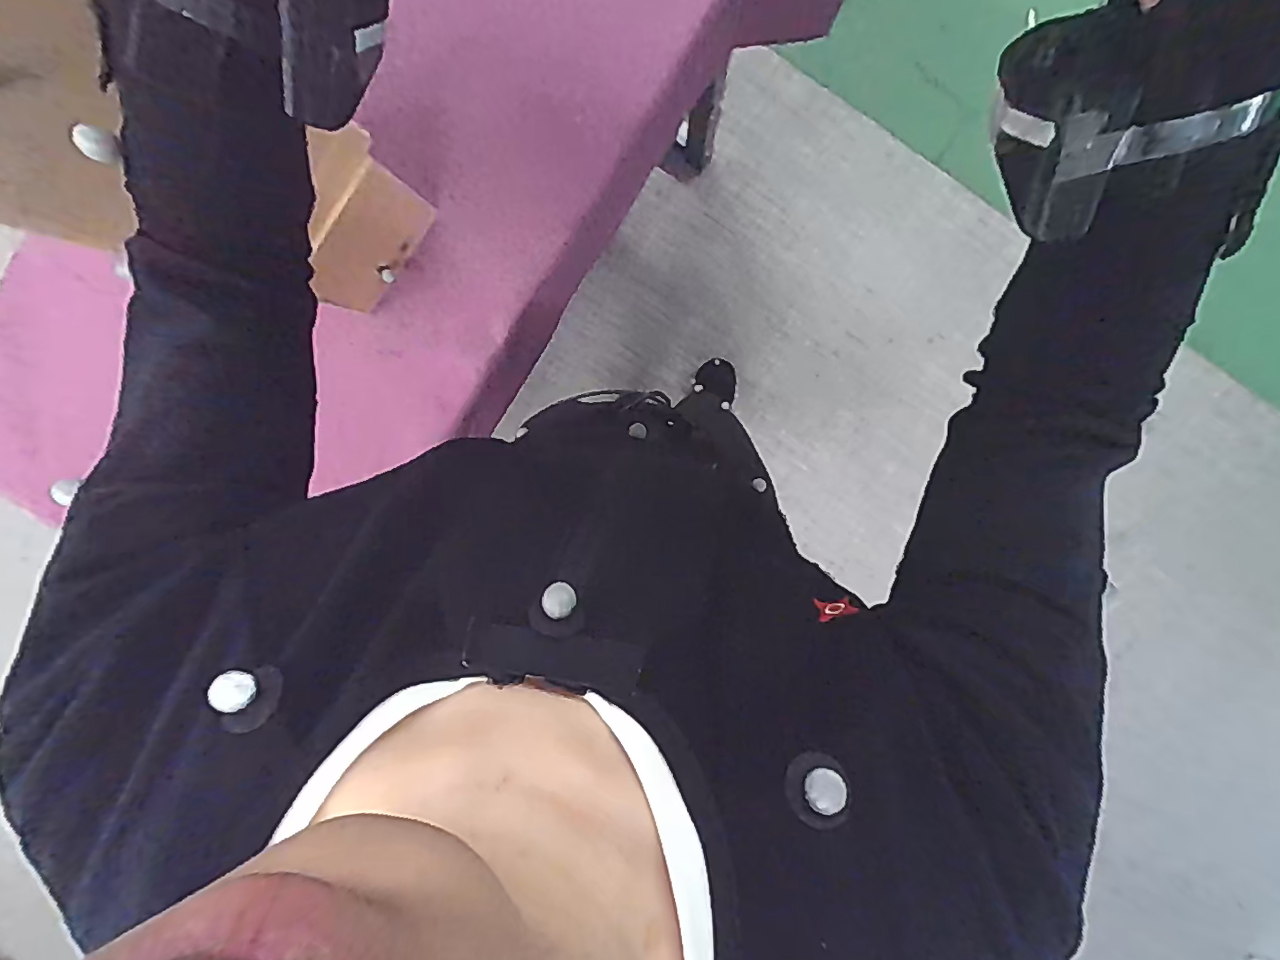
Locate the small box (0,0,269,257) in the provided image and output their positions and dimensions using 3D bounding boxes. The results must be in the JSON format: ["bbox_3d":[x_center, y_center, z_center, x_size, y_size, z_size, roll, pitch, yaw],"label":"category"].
[{"bbox_3d":[-0.370,-0.255,0.300,0.179,0.176,0.168,39,100,-3],"label":"small box"}]

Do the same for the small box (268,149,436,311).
[{"bbox_3d":[-0.375,-0.316,0.621,0.179,0.176,0.168,38,100,-4],"label":"small box"}]

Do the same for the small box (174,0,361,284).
[{"bbox_3d":[-0.381,-0.295,0.461,0.168,0.176,0.179,36,99,-3],"label":"small box"}]
